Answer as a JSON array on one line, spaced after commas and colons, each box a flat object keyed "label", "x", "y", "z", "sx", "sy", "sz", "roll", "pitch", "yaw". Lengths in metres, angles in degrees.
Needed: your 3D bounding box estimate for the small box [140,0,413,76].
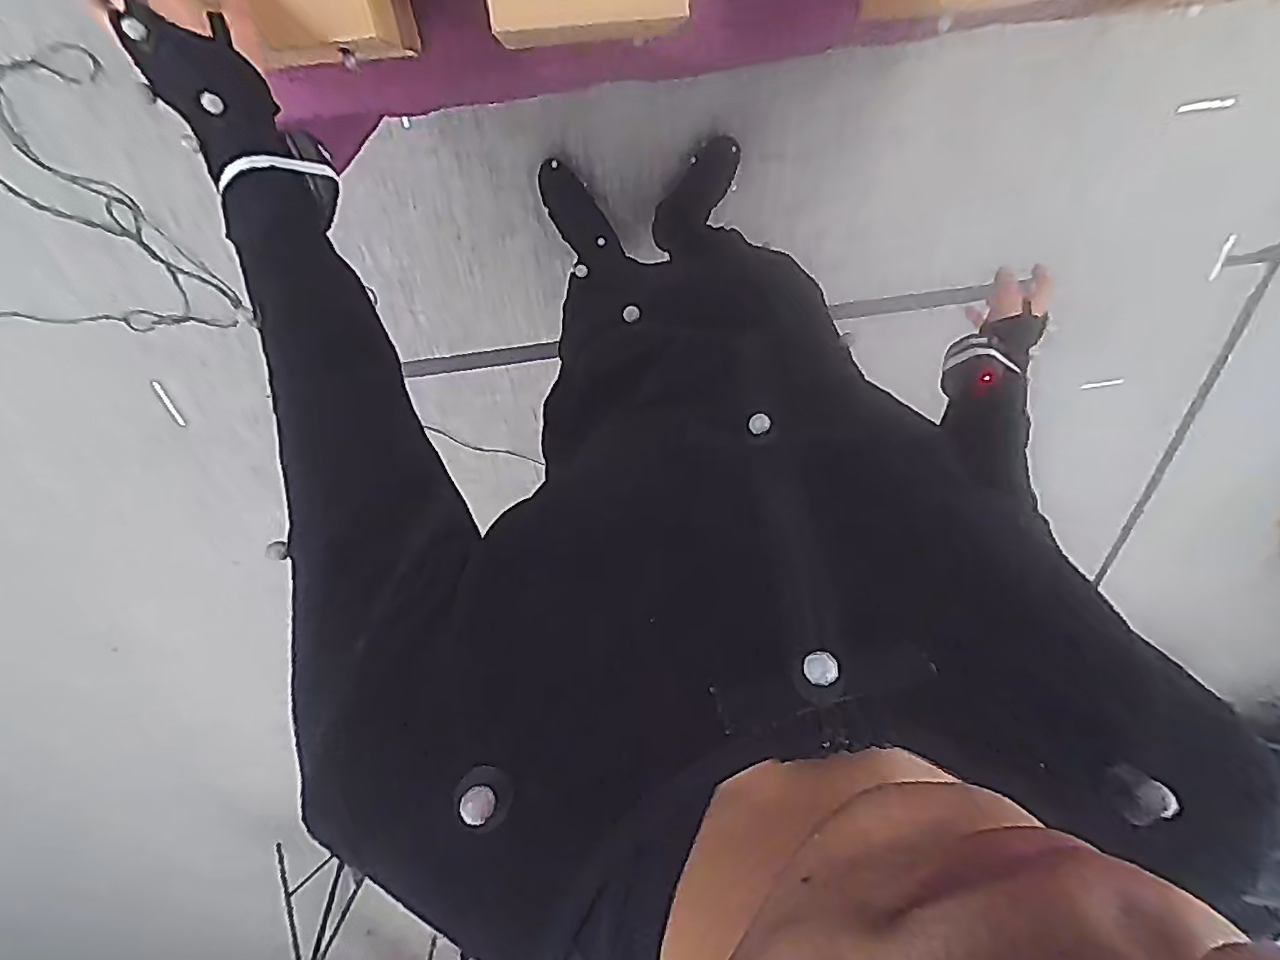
[{"label": "small box", "x": -0.328, "y": -0.471, "z": 0.478, "sx": 0.179, "sy": 0.176, "sz": 0.168, "roll": -9, "pitch": 125, "yaw": -3}]
